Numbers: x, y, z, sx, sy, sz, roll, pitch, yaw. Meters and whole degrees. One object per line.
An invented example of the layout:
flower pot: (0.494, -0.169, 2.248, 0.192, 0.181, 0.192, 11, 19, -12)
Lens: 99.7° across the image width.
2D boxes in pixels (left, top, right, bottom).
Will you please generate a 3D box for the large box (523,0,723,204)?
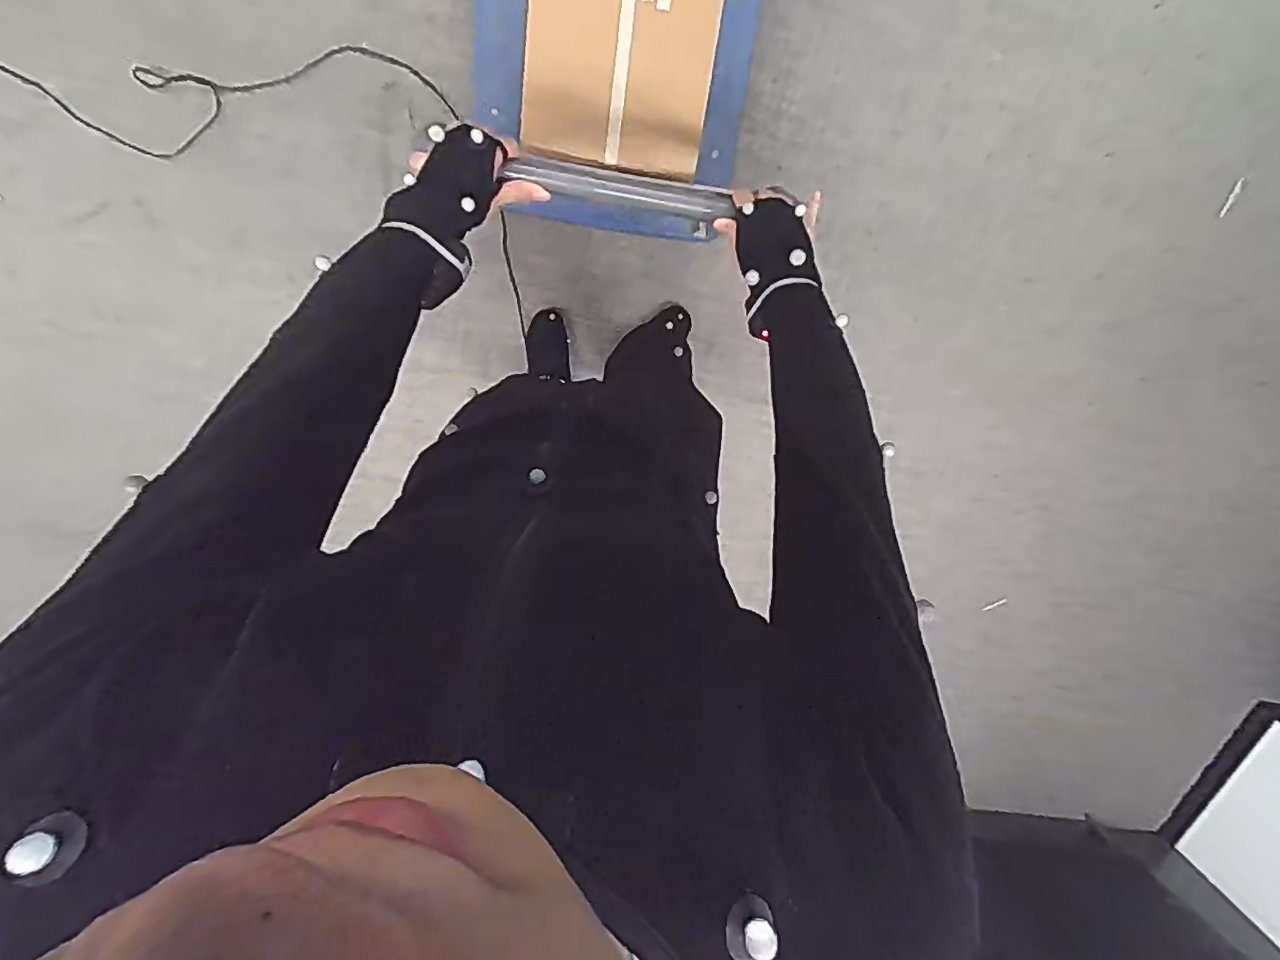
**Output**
large box: (-0.039, -0.781, 1.028, 0.320, 0.320, 0.408, 6, 110, -8)
